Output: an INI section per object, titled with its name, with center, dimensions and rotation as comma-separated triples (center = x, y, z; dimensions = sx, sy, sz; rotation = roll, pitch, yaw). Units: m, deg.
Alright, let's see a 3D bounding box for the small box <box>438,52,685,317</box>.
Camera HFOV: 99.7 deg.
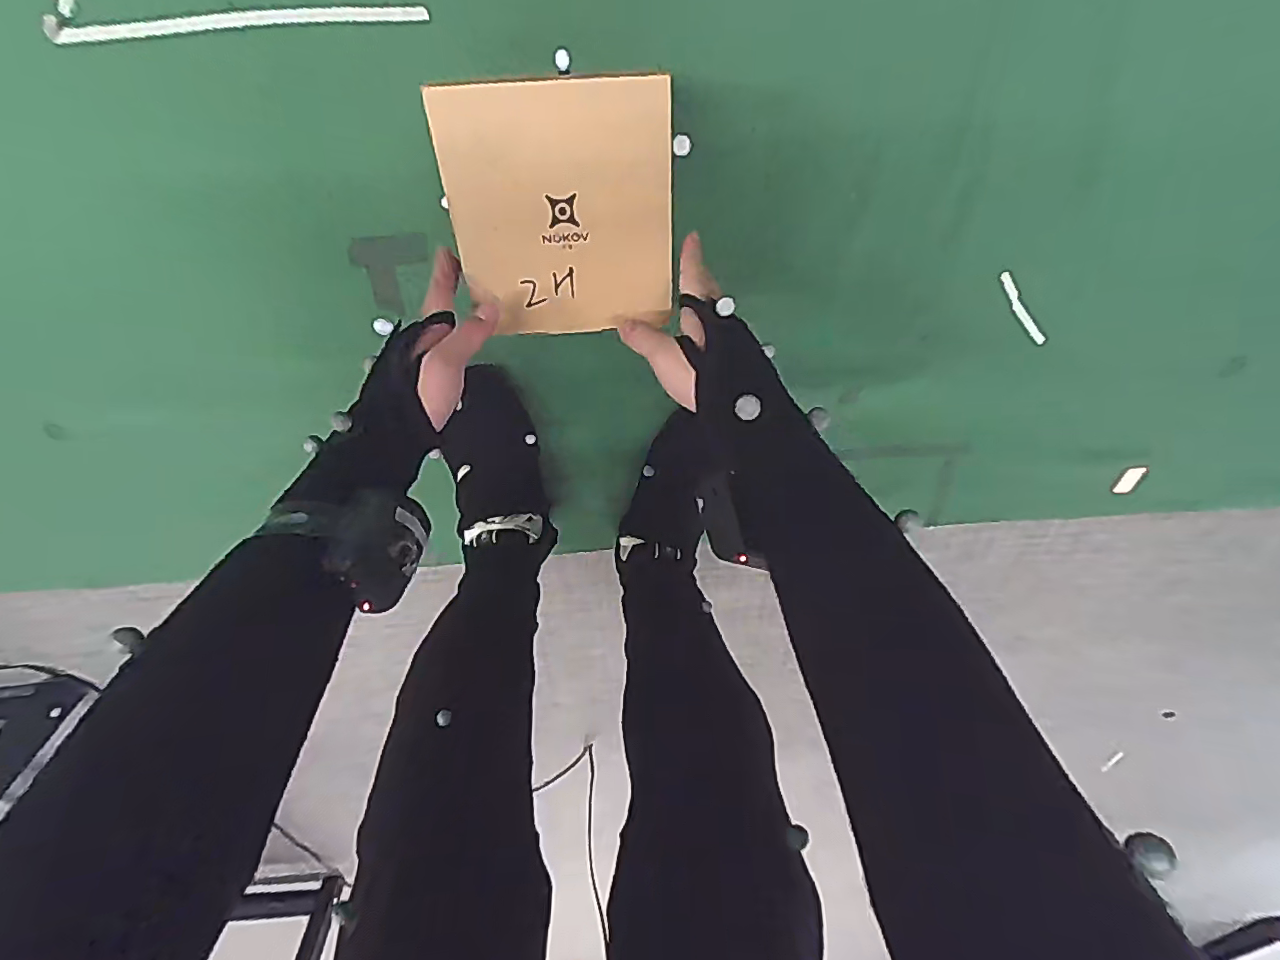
[small box]
center = -0.056, -0.257, 0.467
dimensions = 0.168, 0.176, 0.179
rotation = -2, 129, -2
